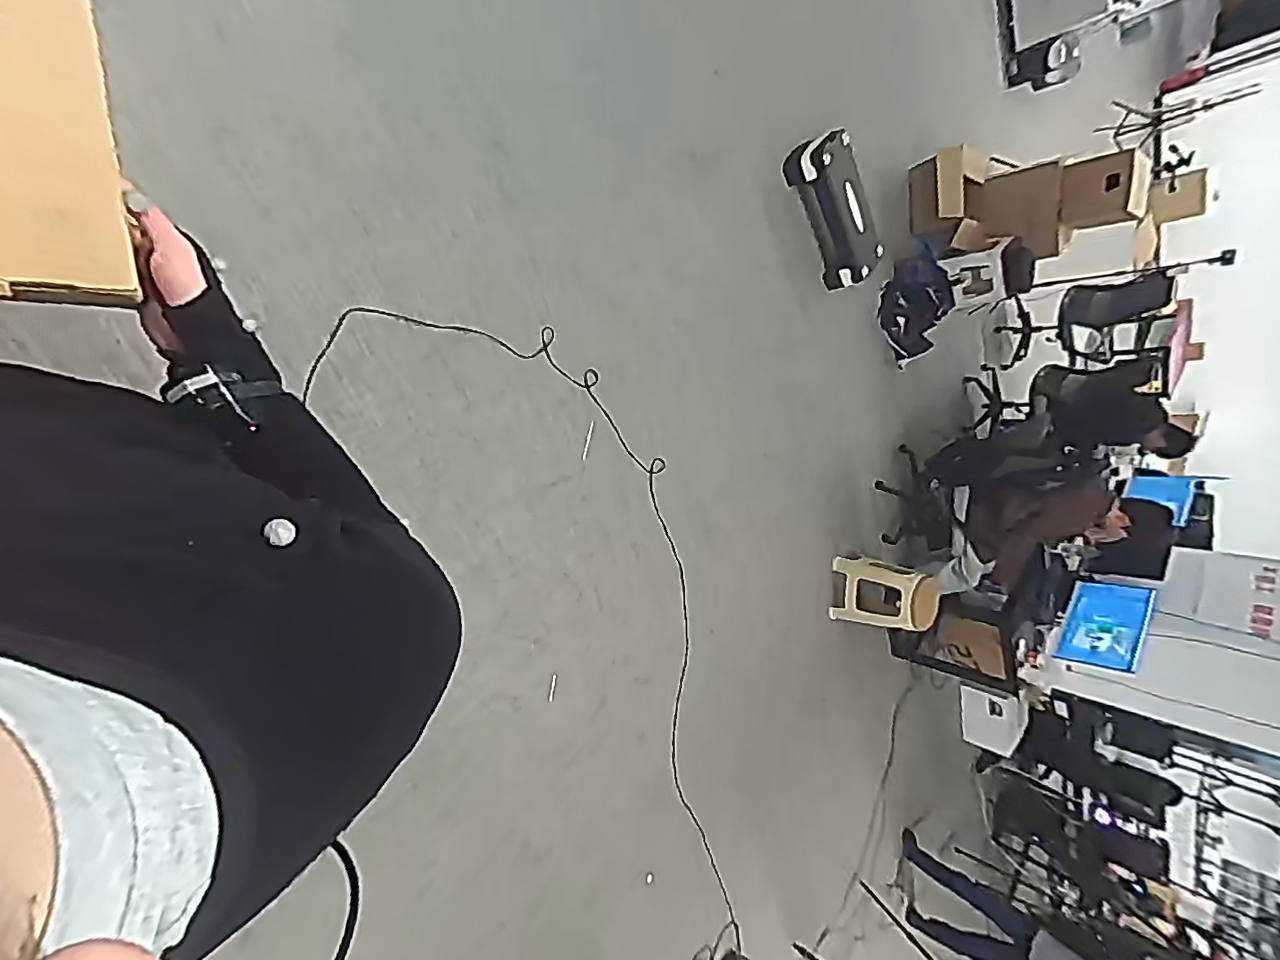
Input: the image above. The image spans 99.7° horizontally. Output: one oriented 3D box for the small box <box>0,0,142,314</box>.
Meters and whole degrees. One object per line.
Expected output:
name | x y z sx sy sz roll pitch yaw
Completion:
small box | -0.438 -0.203 0.344 0.168 0.176 0.179 -10 106 -42
